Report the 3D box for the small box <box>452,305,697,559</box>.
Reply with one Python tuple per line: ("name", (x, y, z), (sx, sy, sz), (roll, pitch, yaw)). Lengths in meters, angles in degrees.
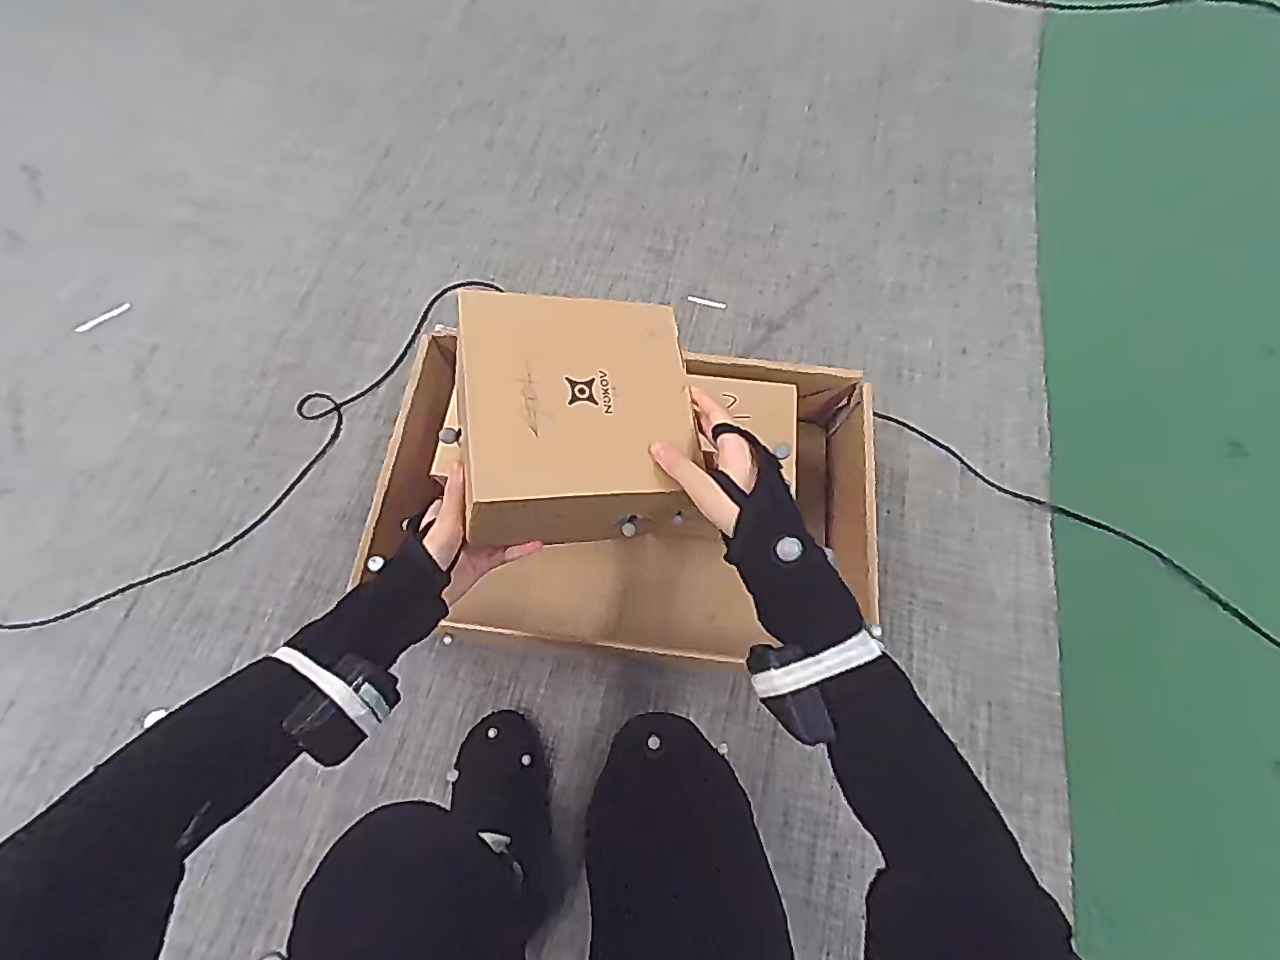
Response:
("small box", (-0.072, -0.030, 0.483), (0.179, 0.176, 0.168), (-2, 71, -20))
